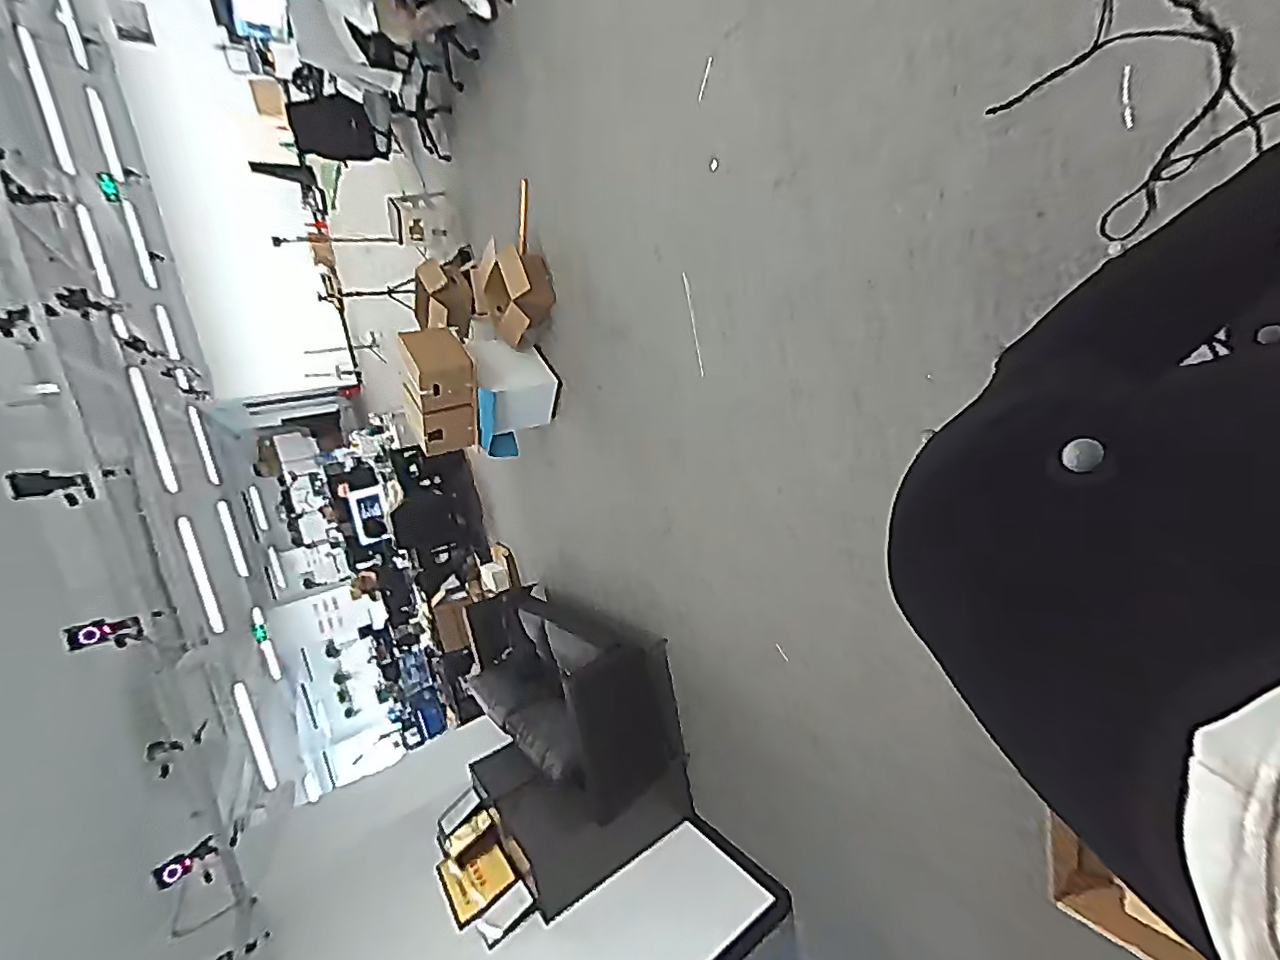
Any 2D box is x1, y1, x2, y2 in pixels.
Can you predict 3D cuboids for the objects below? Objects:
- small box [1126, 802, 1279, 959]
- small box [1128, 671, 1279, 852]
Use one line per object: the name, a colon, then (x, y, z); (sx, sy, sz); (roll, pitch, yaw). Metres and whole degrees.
small box: (1.004, 0.704, 0.964); (0.168, 0.176, 0.179); (6, 108, 58)
small box: (0.960, 0.458, 0.910); (0.168, 0.176, 0.179); (8, 111, 56)
